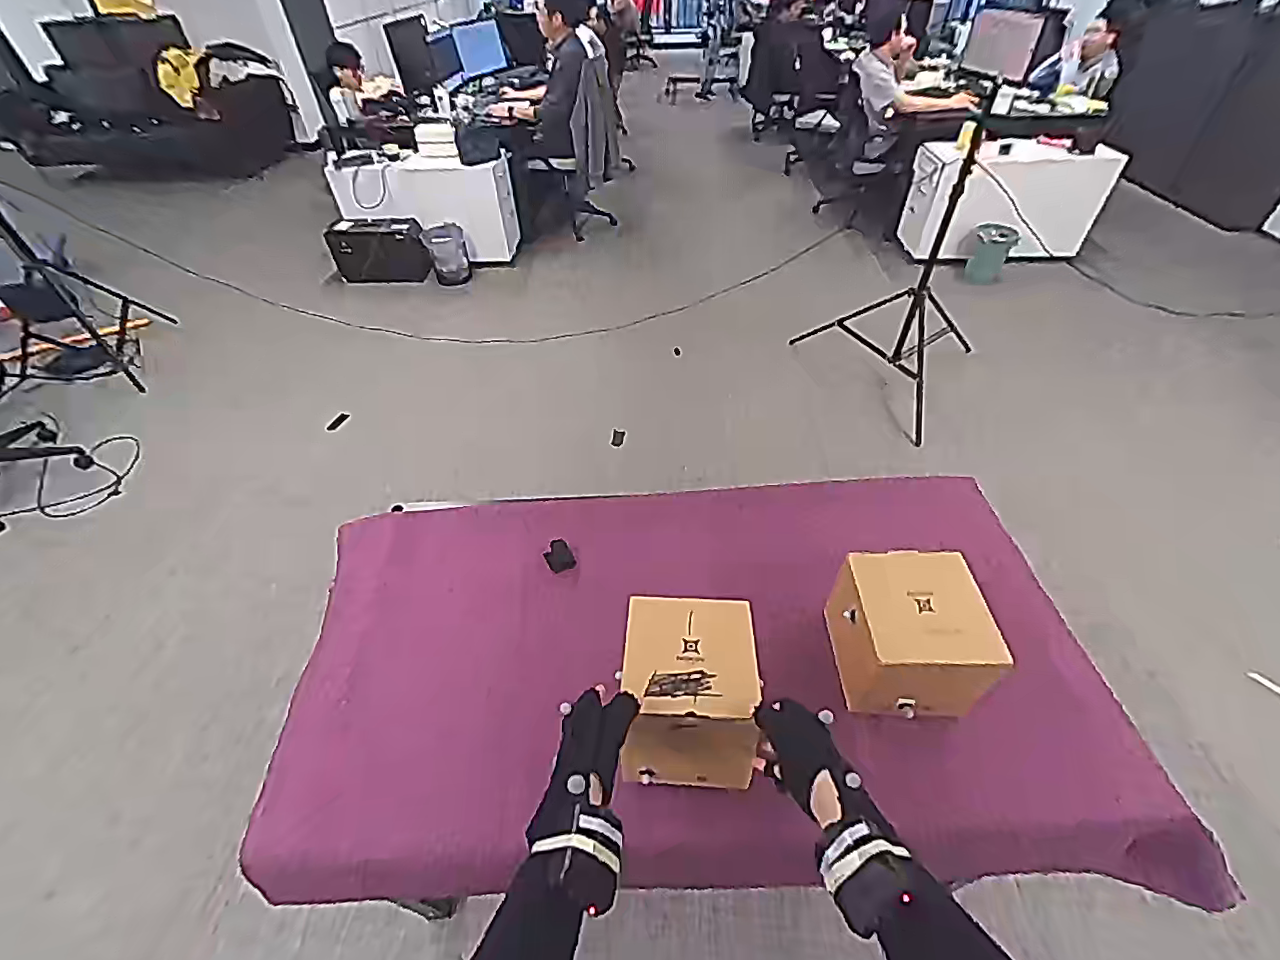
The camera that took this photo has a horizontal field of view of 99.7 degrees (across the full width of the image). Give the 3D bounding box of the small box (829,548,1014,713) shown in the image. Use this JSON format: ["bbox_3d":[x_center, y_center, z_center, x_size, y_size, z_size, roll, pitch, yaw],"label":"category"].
[{"bbox_3d":[0.388,0.218,0.789,0.168,0.176,0.179,-1,45,3],"label":"small box"}]

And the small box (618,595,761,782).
[{"bbox_3d":[0.065,0.277,0.723,0.168,0.176,0.179,2,37,4],"label":"small box"}]
